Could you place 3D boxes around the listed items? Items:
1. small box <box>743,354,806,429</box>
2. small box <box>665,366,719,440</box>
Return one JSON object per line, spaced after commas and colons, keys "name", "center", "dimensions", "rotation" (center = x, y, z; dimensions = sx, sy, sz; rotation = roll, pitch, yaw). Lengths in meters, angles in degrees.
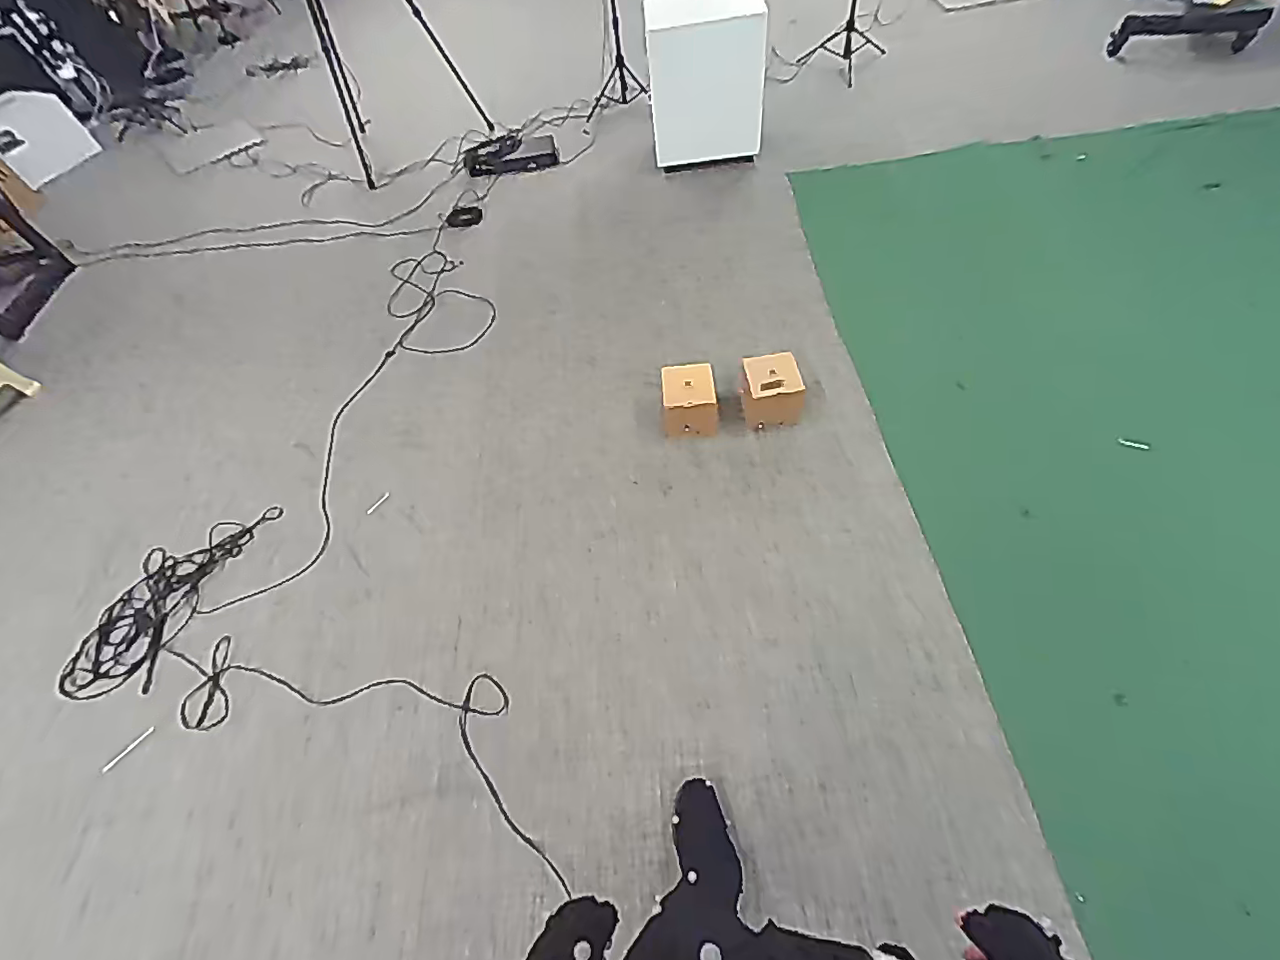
{"name": "small box", "center": [0.436, -0.283, 1.775], "dimensions": [0.168, 0.176, 0.179], "rotation": [-8, 55, 2]}
{"name": "small box", "center": [0.169, -0.253, 1.792], "dimensions": [0.168, 0.176, 0.179], "rotation": [-5, 56, 4]}
